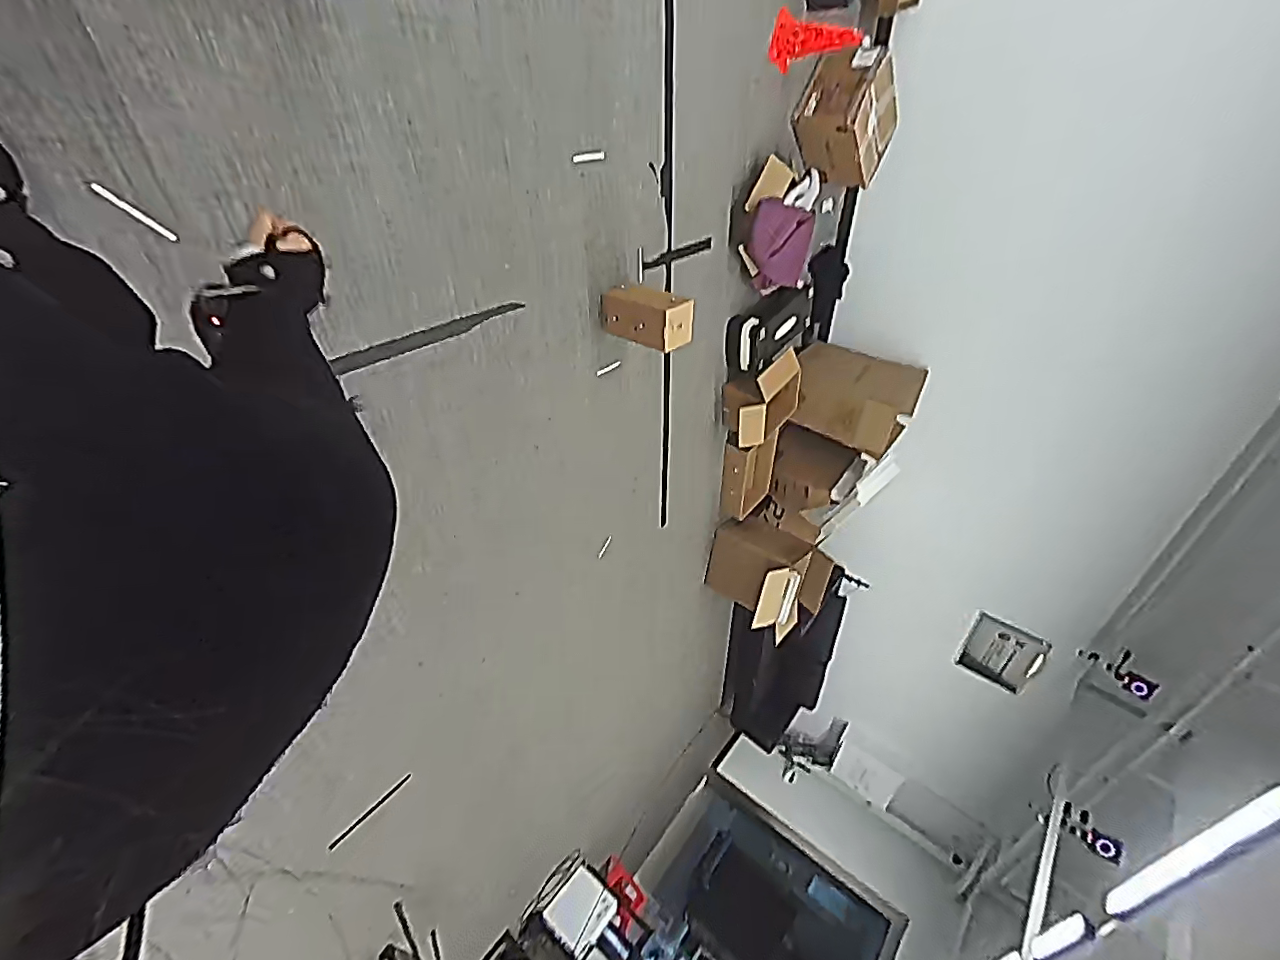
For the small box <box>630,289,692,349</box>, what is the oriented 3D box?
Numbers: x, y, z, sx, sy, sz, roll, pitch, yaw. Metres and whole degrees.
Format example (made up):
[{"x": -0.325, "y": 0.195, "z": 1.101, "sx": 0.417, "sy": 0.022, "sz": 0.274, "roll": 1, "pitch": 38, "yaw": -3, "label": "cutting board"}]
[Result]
[{"x": 0.081, "y": -0.630, "z": 2.095, "sx": 0.179, "sy": 0.176, "sz": 0.168, "roll": -35, "pitch": 139, "yaw": -38, "label": "small box"}]

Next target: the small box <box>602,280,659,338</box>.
[{"x": -0.042, "y": -0.694, "z": 2.187, "sx": 0.179, "sy": 0.176, "sz": 0.168, "roll": -36, "pitch": 139, "yaw": -37, "label": "small box"}]
